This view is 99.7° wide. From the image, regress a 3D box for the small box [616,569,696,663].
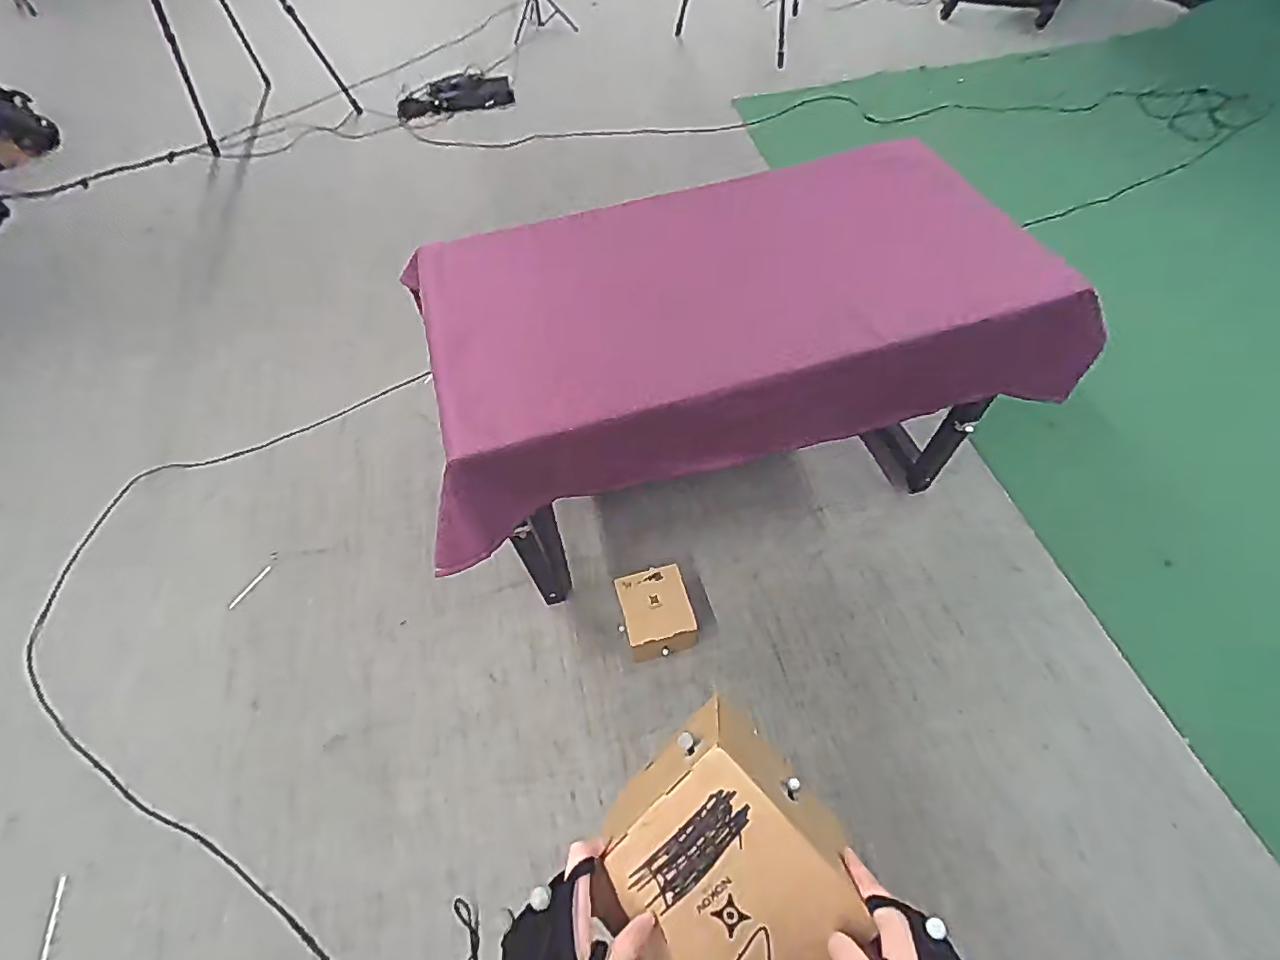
[{"bbox_3d":[0.043,0.355,1.382,0.168,0.176,0.179,-14,58,-5],"label":"small box"}]
